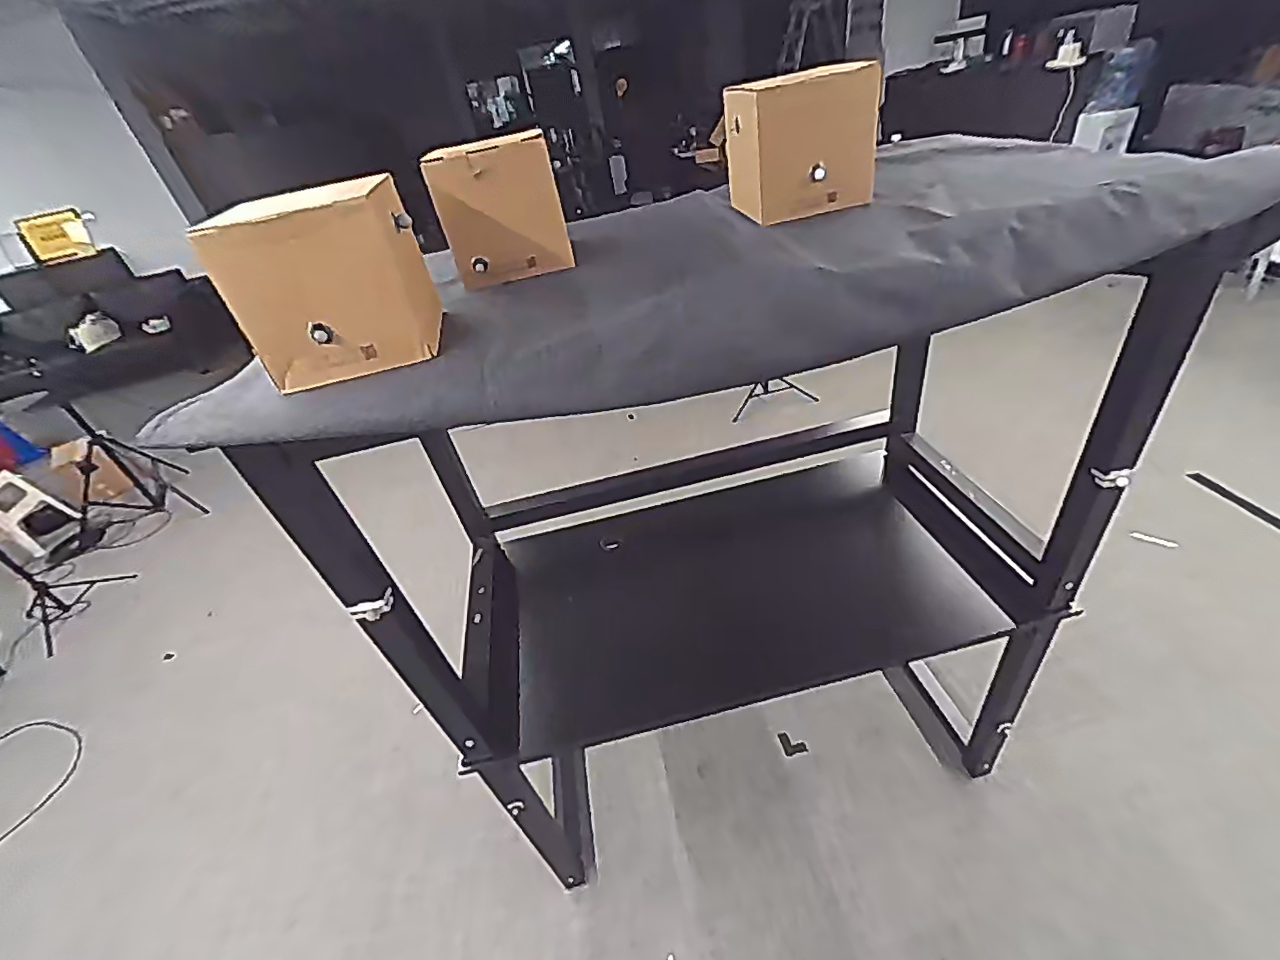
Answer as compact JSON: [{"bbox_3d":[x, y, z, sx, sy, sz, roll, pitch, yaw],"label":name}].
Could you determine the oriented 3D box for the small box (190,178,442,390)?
[{"bbox_3d":[-0.335,-0.222,0.607,0.168,0.176,0.179,-16,37,-6],"label":"small box"}]

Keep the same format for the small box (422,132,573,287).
[{"bbox_3d":[-0.202,-0.402,0.810,0.168,0.176,0.179,-14,36,-2],"label":"small box"}]

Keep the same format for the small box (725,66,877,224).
[{"bbox_3d":[0.231,-0.500,0.813,0.168,0.176,0.179,-13,37,0],"label":"small box"}]
